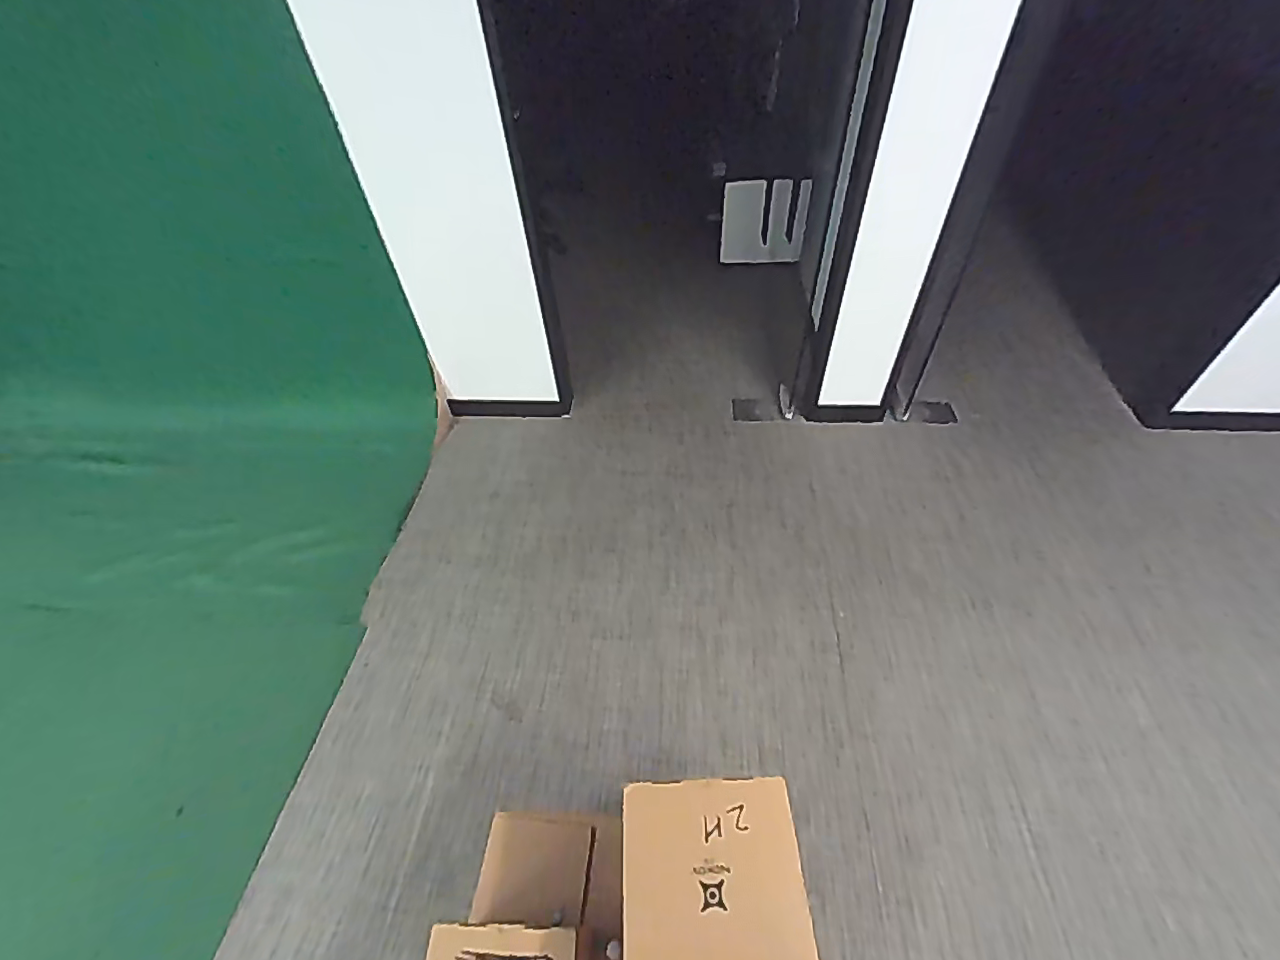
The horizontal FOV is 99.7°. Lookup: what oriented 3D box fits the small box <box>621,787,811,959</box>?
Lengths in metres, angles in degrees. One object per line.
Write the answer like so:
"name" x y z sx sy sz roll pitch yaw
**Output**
"small box" 0.071 0.434 0.553 0.168 0.176 0.179 -3 46 2
